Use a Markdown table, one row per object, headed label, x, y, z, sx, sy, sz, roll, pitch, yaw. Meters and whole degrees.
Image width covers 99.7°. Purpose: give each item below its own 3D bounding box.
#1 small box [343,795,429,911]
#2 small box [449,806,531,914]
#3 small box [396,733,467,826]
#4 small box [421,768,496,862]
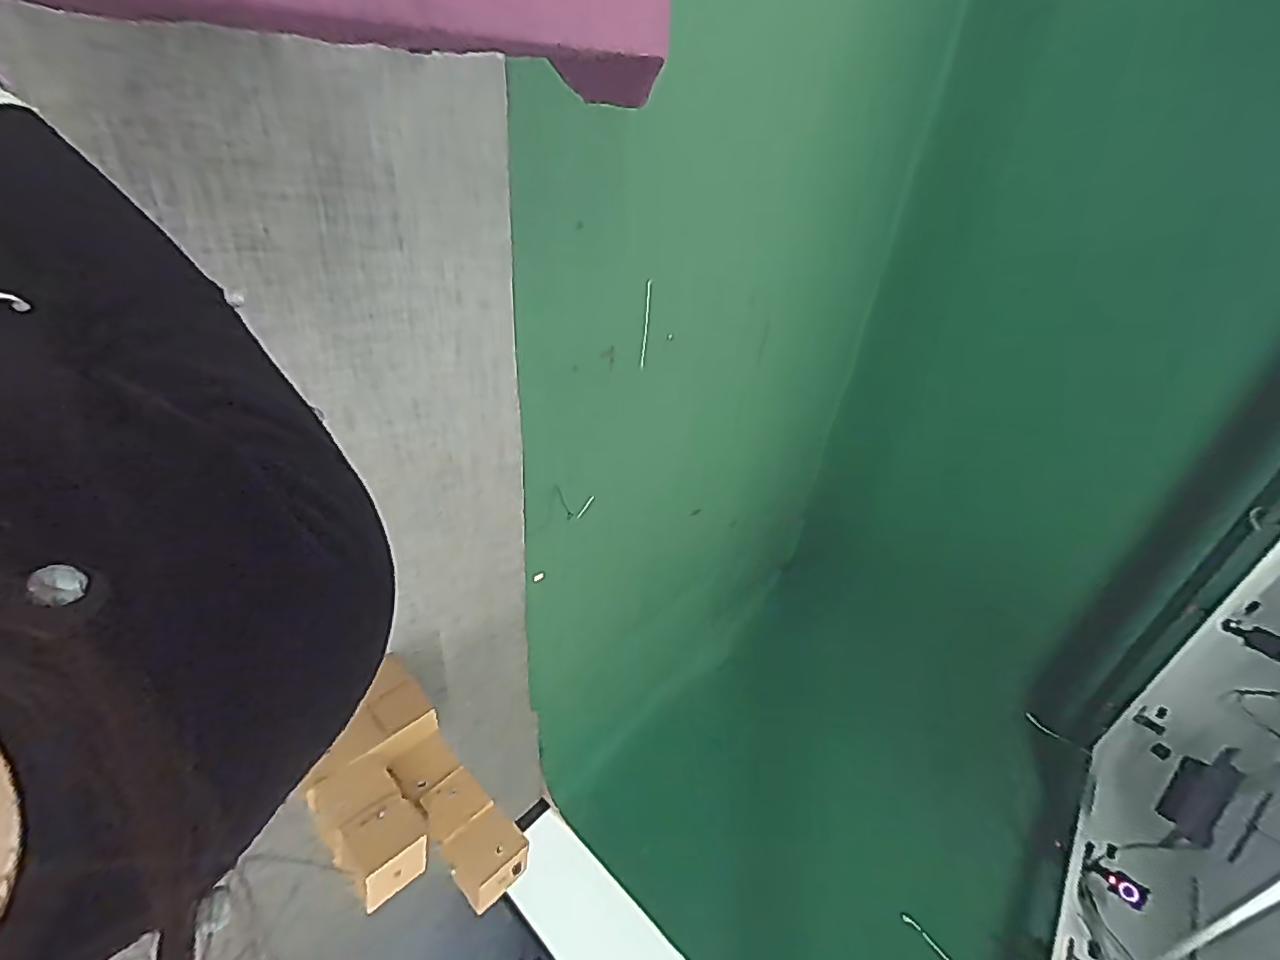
| label | x | y | z | sx | sy | sz | roll | pitch | yaw |
| --- | --- | --- | --- | --- | --- | --- | --- | --- | --- |
| small box | -0.713 | 1.035 | 1.515 | 0.168 | 0.176 | 0.179 | -19 | 129 | -46 |
| small box | -0.458 | 1.147 | 1.648 | 0.179 | 0.176 | 0.168 | -21 | 131 | -44 |
| small box | -0.698 | 0.999 | 1.815 | 0.179 | 0.176 | 0.168 | -28 | 138 | -40 |
| small box | -0.577 | 1.069 | 1.730 | 0.168 | 0.176 | 0.179 | -27 | 135 | -41 |
